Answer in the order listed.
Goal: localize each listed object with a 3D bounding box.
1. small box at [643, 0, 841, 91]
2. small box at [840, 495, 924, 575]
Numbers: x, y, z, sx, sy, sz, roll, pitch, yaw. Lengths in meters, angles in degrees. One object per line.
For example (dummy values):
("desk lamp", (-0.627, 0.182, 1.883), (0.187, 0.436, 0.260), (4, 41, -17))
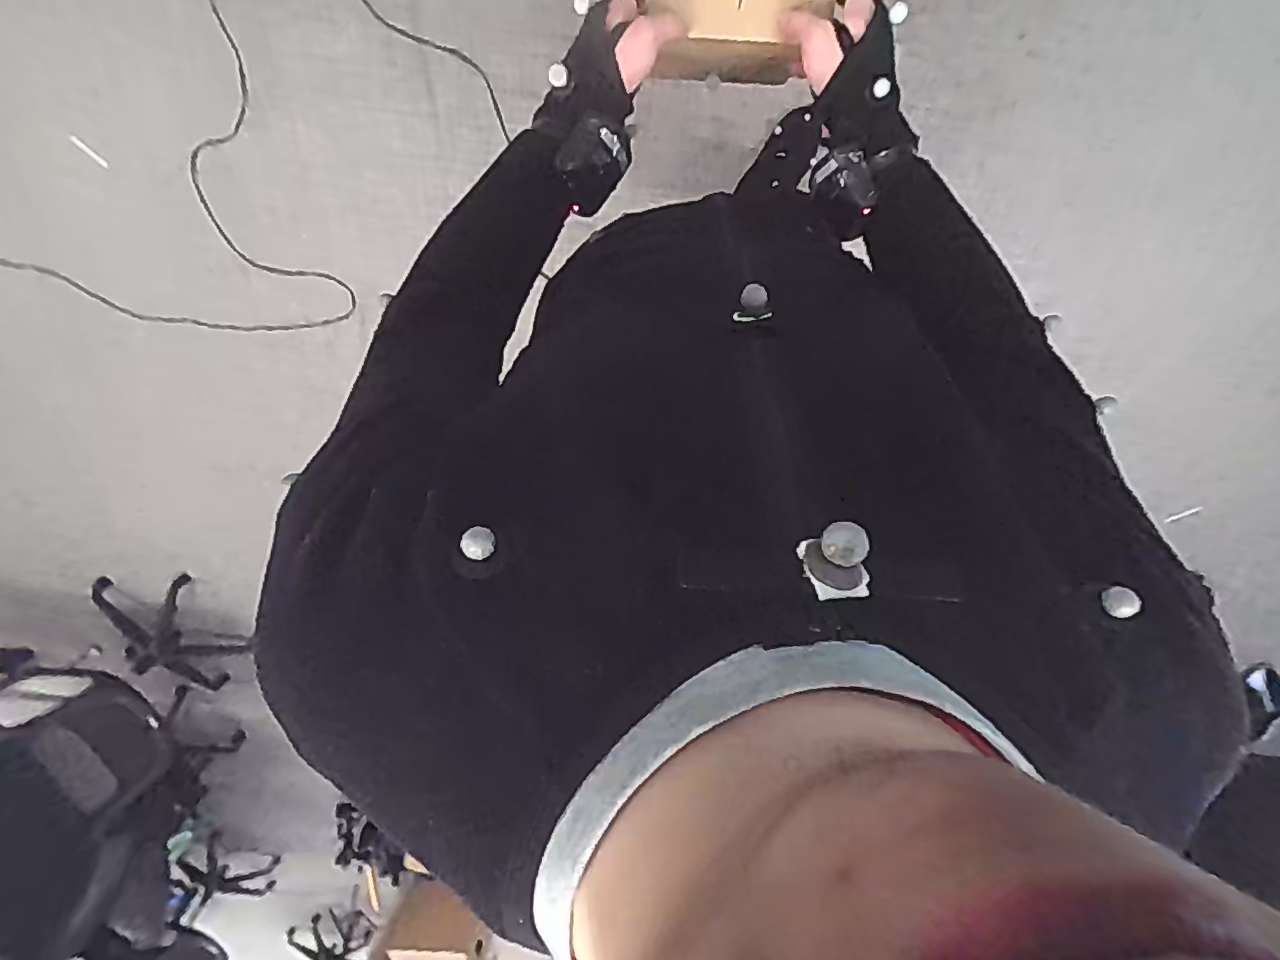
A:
("small box", (0.091, -0.492, 0.504), (0.168, 0.176, 0.179), (2, 115, -2))
("small box", (0.720, 0.161, 1.632), (0.168, 0.176, 0.179), (5, 120, 2))
